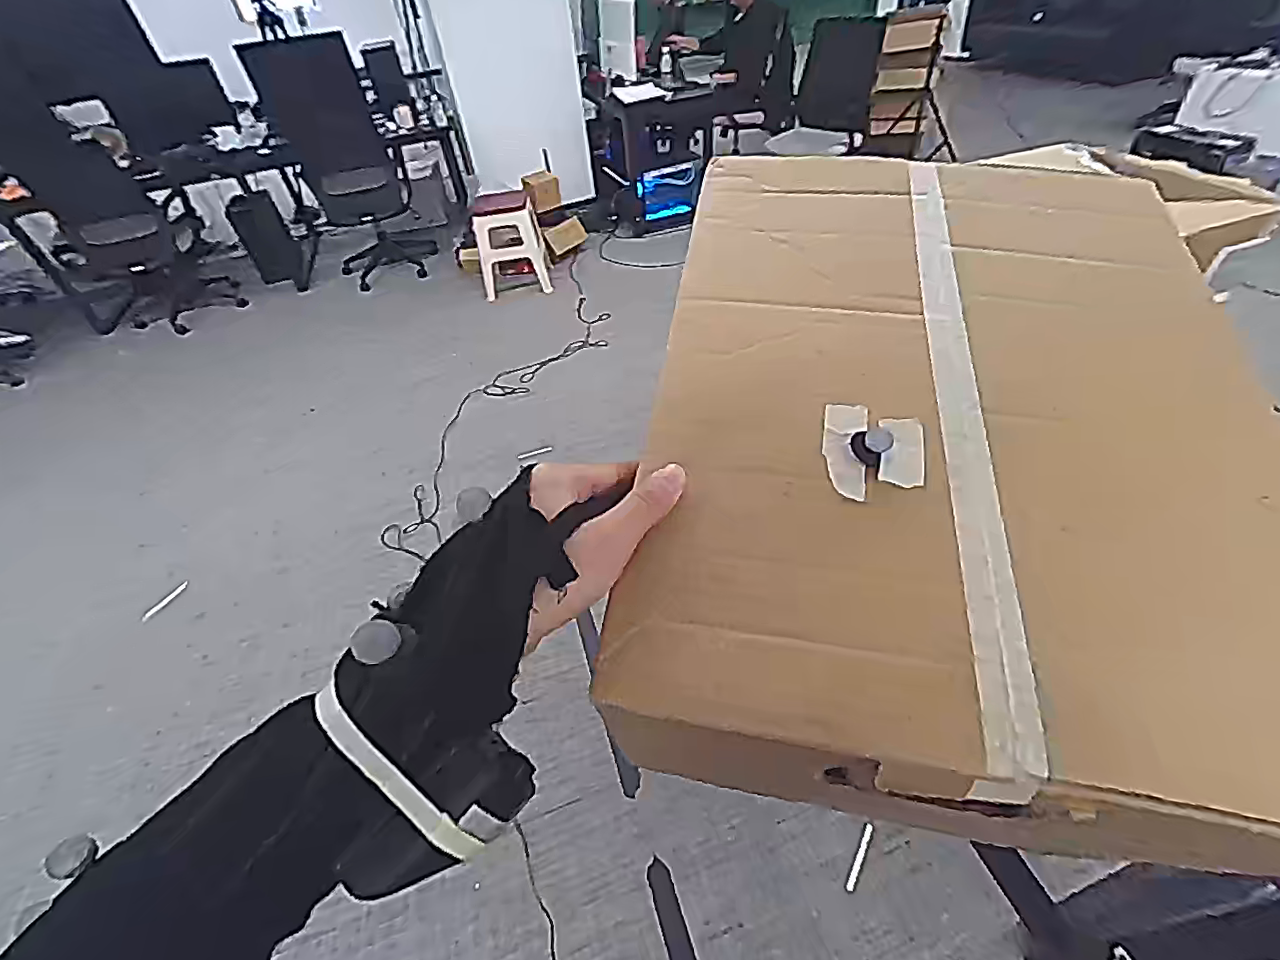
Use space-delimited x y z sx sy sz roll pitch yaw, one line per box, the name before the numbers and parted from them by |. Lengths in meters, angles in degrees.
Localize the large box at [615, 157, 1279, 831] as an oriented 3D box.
large box | 0.174 0.013 0.429 0.320 0.320 0.408 7 59 8
